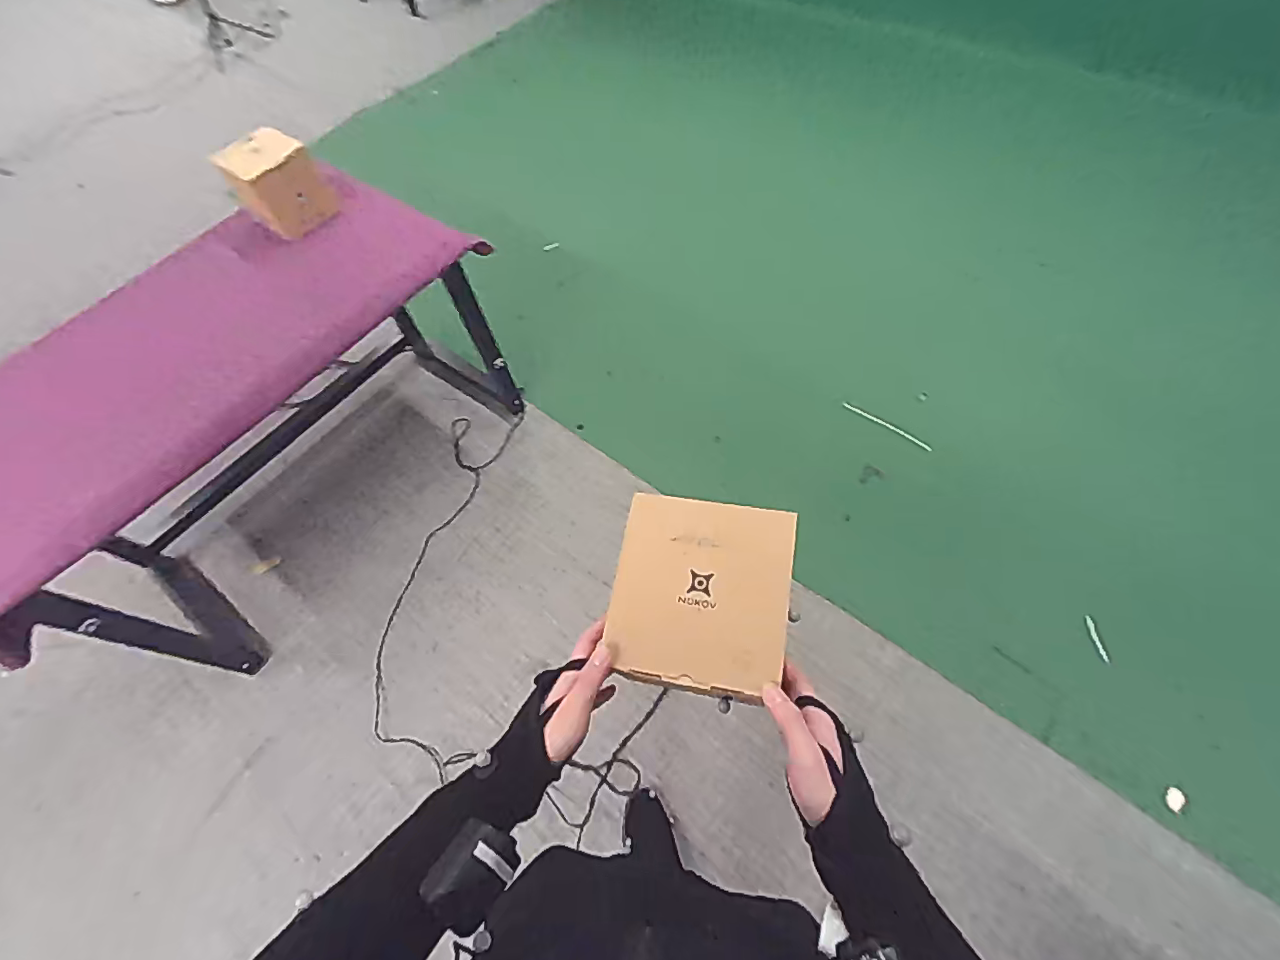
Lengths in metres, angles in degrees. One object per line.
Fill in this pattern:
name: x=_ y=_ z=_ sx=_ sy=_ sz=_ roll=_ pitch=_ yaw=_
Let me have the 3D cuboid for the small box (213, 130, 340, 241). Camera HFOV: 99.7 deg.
small box: x=-0.916 y=-0.744 z=1.381 sx=0.179 sy=0.176 sz=0.168 roll=33 pitch=69 yaw=20

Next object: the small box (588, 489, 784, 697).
small box: x=0.058 y=0.128 z=0.582 sx=0.168 sy=0.176 sz=0.179 roll=6 pitch=67 yaw=12
